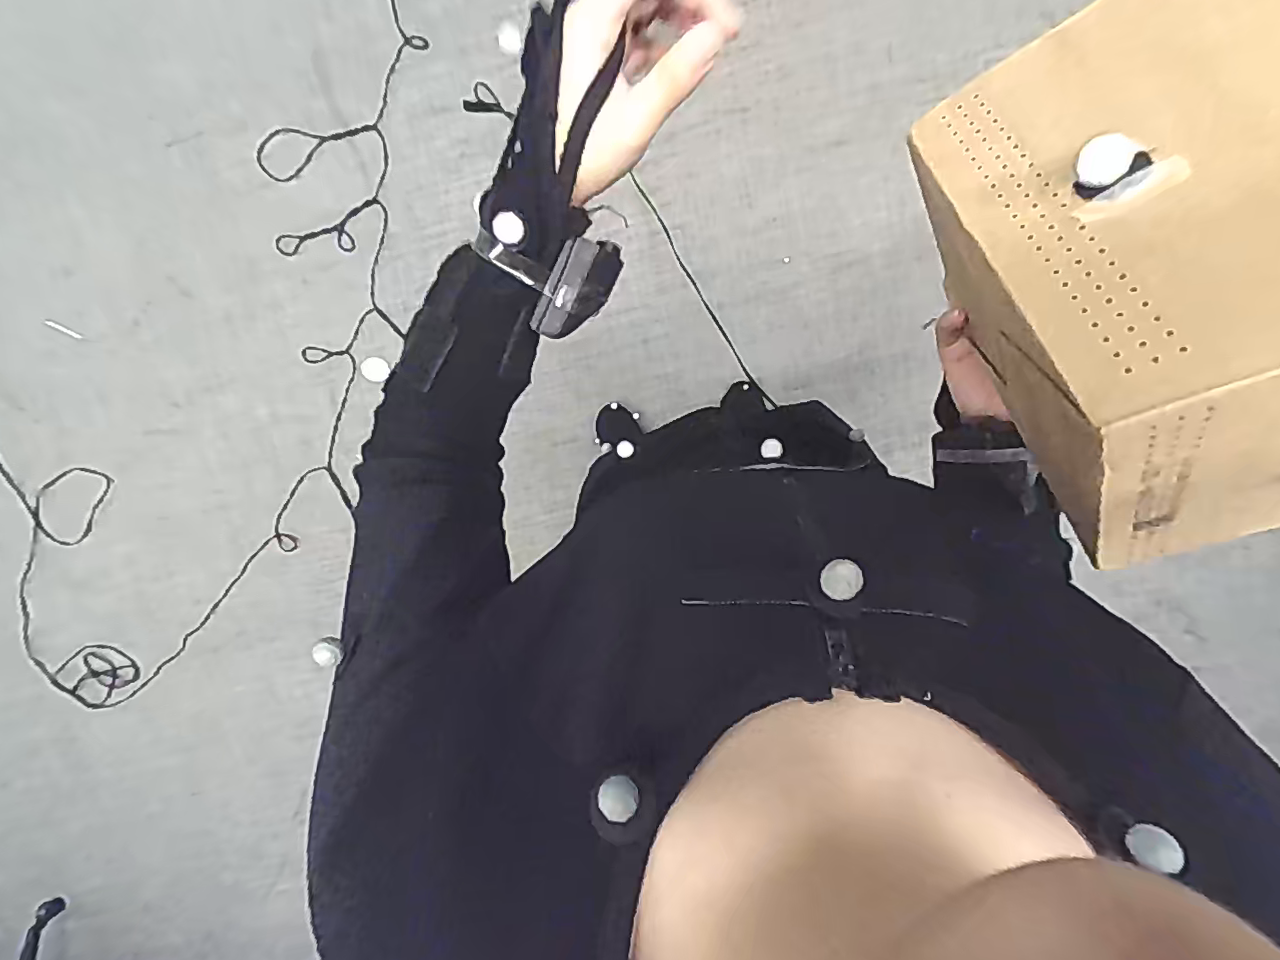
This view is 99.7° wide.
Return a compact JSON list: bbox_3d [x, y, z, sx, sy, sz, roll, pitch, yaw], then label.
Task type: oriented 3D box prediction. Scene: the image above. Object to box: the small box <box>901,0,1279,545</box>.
[{"bbox_3d":[0.242,-0.089,0.234,0.176,0.168,0.179,-25,55,28],"label":"small box"}]
